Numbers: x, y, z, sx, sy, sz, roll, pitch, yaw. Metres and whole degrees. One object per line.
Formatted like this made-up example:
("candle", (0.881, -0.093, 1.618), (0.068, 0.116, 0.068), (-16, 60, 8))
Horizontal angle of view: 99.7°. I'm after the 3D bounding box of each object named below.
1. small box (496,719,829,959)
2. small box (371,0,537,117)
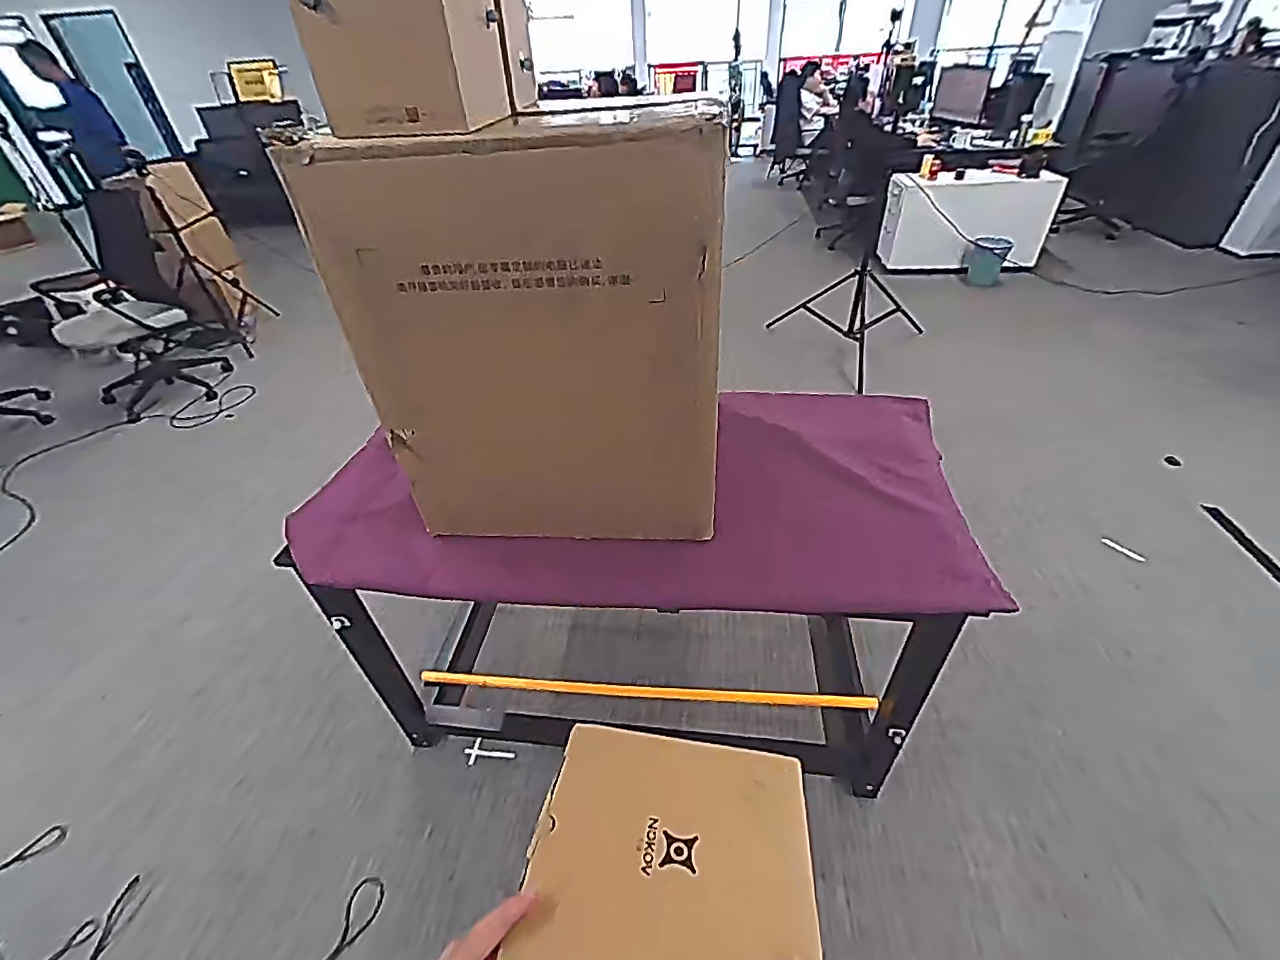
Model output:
("small box", (0.020, 0.301, 0.370), (0.179, 0.176, 0.168), (5, 24, 8))
("small box", (-0.258, -0.623, 0.766), (0.179, 0.176, 0.168), (0, 39, 3))
